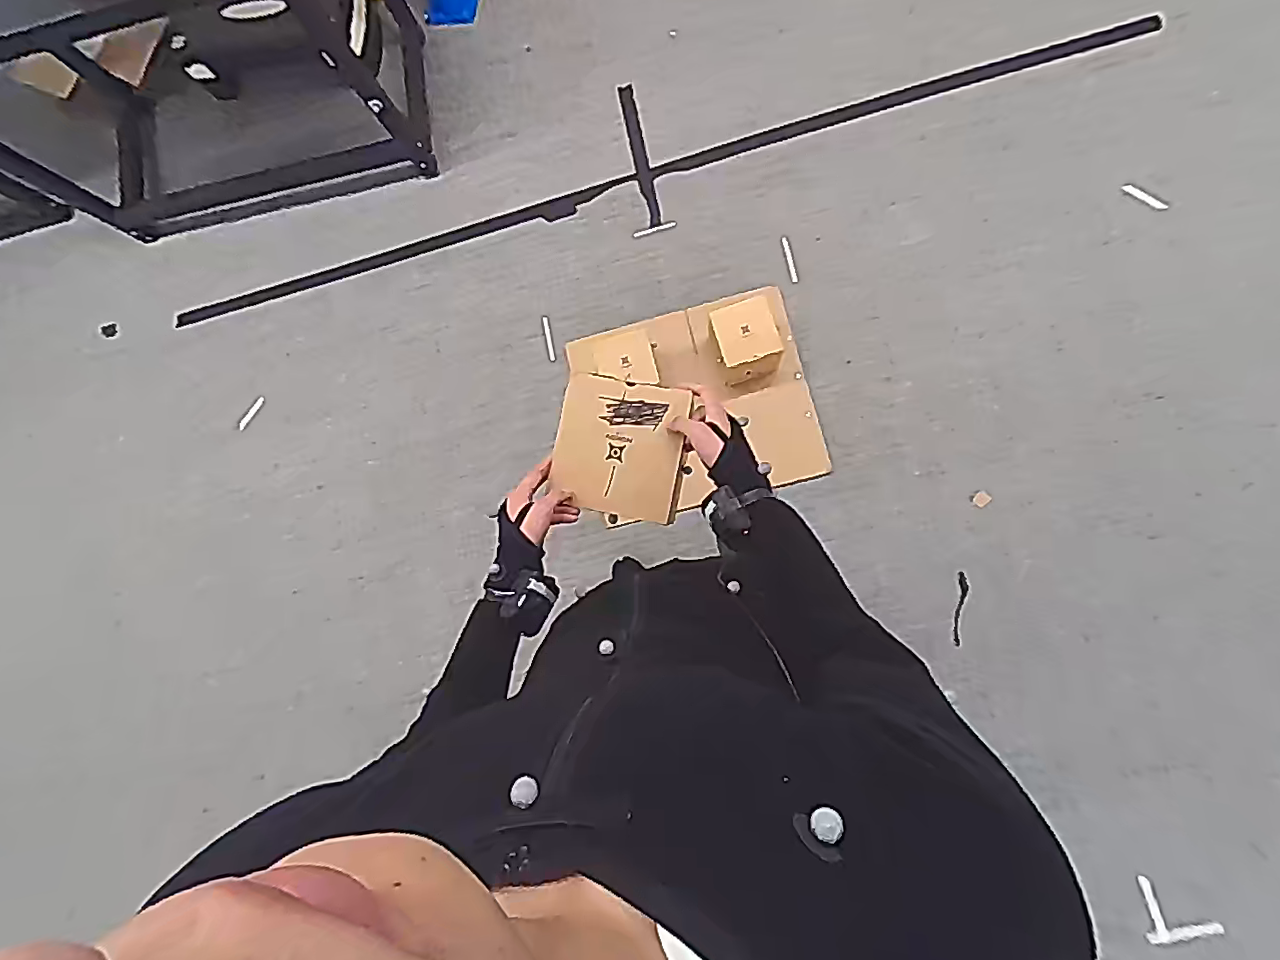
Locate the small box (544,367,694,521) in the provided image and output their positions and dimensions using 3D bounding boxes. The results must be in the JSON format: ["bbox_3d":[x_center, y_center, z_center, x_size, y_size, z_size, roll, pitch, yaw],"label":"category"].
[{"bbox_3d":[-0.020,-0.043,0.768,0.168,0.176,0.179,11,88,8],"label":"small box"}]

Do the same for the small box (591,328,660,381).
[{"bbox_3d":[-0.033,-0.323,1.610,0.168,0.176,0.179,-15,82,7],"label":"small box"}]

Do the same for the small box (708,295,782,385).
[{"bbox_3d":[0.300,-0.403,1.582,0.168,0.176,0.179,-18,82,5],"label":"small box"}]
